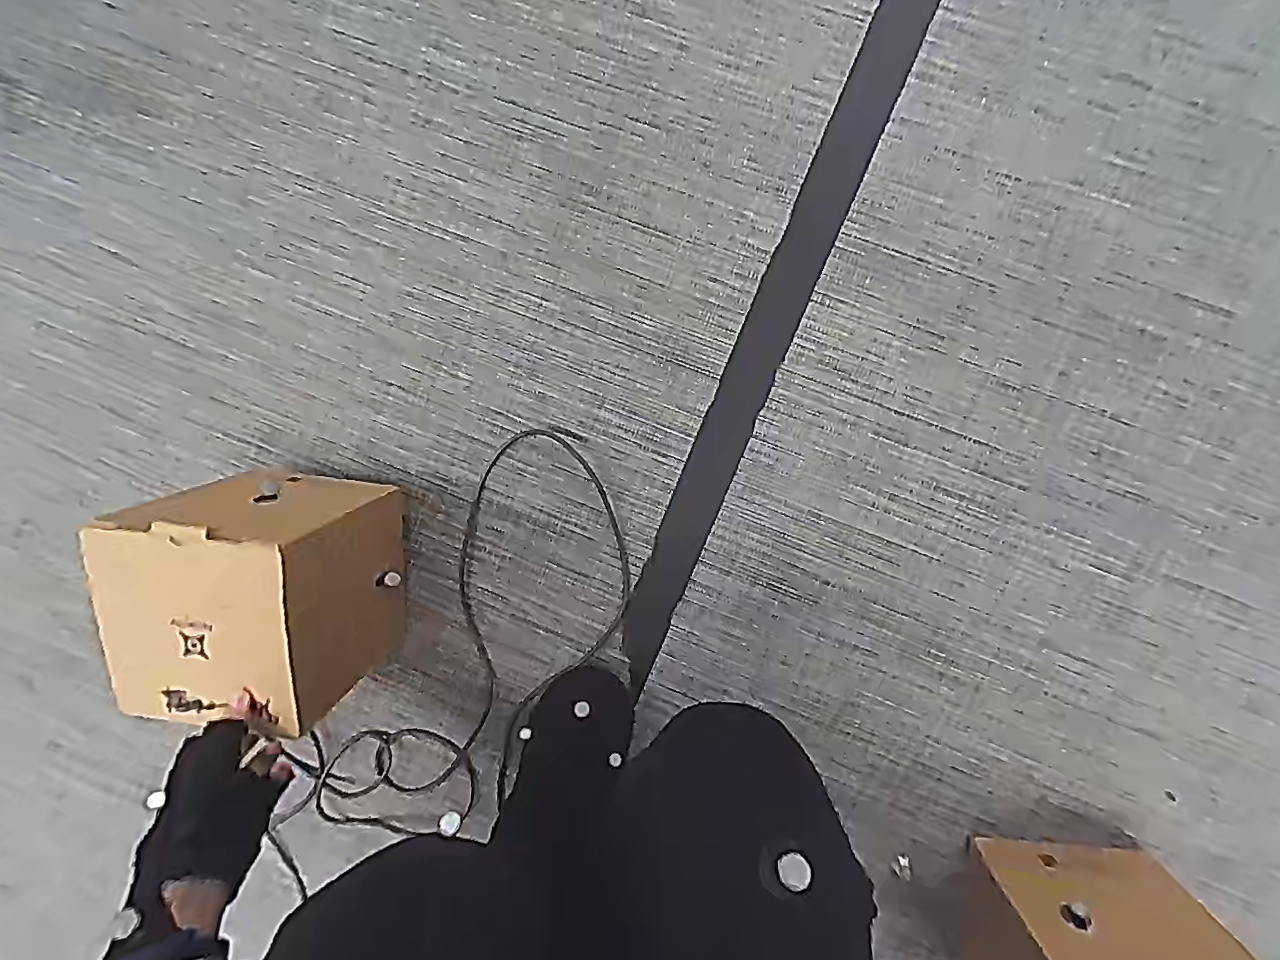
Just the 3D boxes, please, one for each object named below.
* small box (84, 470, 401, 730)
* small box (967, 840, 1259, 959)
[{"bbox_3d":[-0.341,0.093,0.500,0.168,0.176,0.179,6,103,5],"label":"small box"},{"bbox_3d":[0.404,0.448,0.460,0.168,0.176,0.179,1,97,8],"label":"small box"}]
